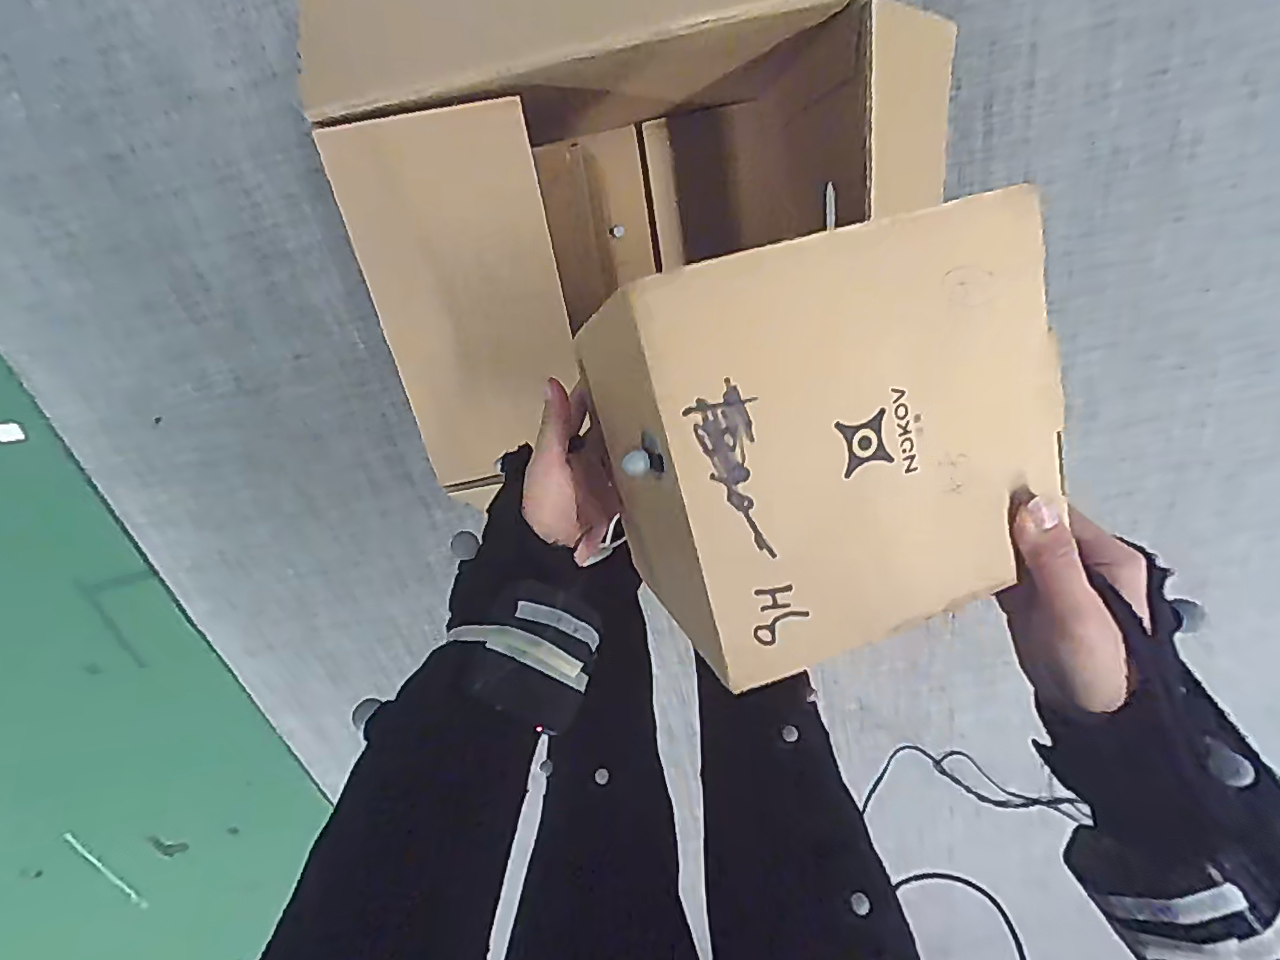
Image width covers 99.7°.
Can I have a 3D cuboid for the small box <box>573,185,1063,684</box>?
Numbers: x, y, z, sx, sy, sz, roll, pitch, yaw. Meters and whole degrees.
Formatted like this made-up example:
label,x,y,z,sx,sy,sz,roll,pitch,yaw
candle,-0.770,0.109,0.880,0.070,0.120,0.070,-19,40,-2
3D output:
label,x,y,z,sx,sy,sz,roll,pitch,yaw
small box,0.075,-0.031,0.291,0.179,0.176,0.168,-17,102,-11
